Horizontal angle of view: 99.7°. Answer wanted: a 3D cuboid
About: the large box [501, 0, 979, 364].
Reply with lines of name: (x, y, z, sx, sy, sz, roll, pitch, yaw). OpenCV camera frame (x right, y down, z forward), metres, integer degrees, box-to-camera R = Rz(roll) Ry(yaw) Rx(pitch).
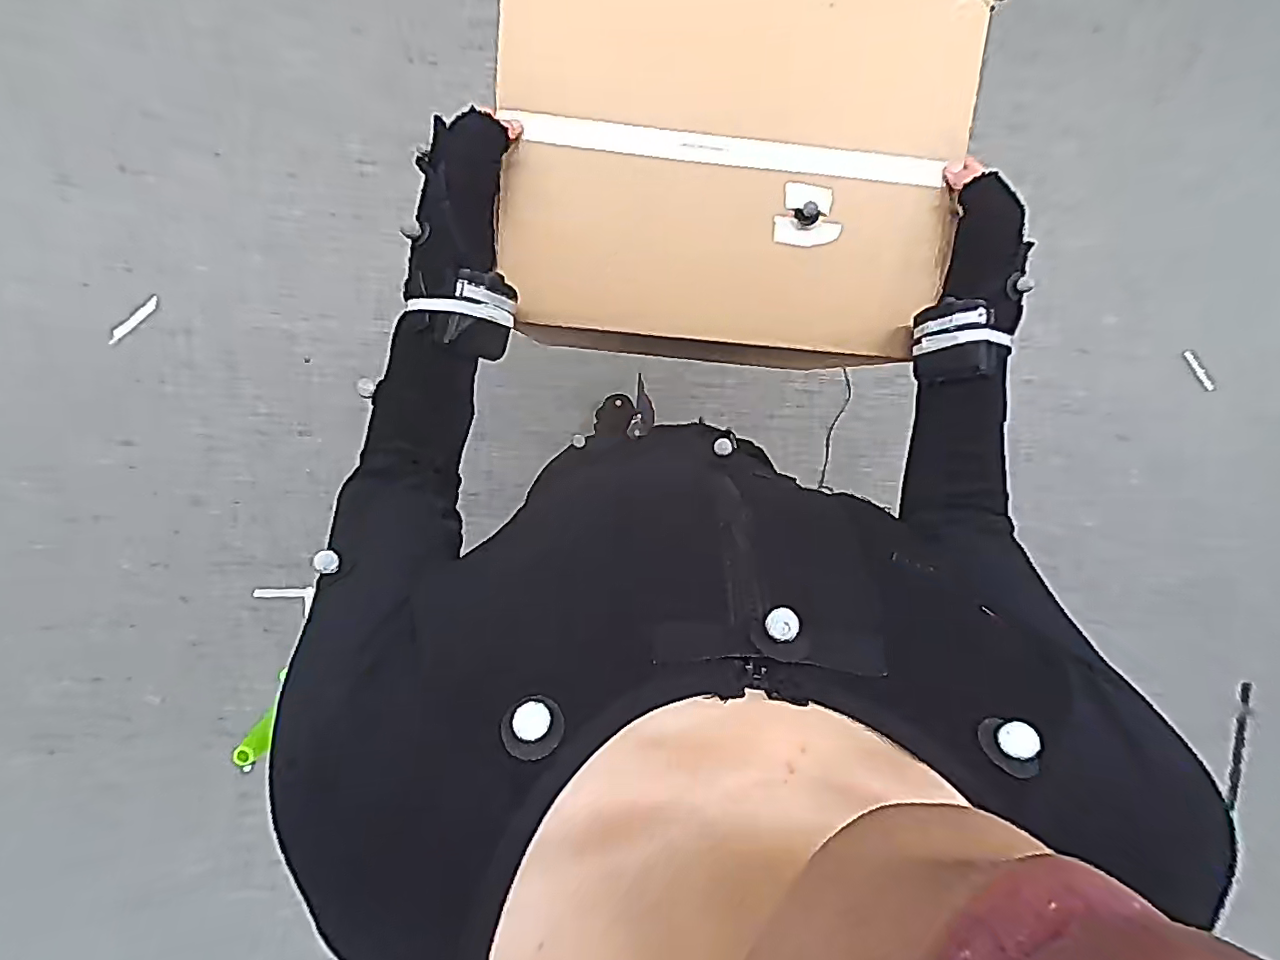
large box: (0.072, -0.309, 0.615, 0.408, 0.320, 0.320, 4, 100, -5)

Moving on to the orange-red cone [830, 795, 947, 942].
orange-red cone: (0.654, 1.009, 1.382, 0.198, 0.360, 0.199, 0, 91, -5)
